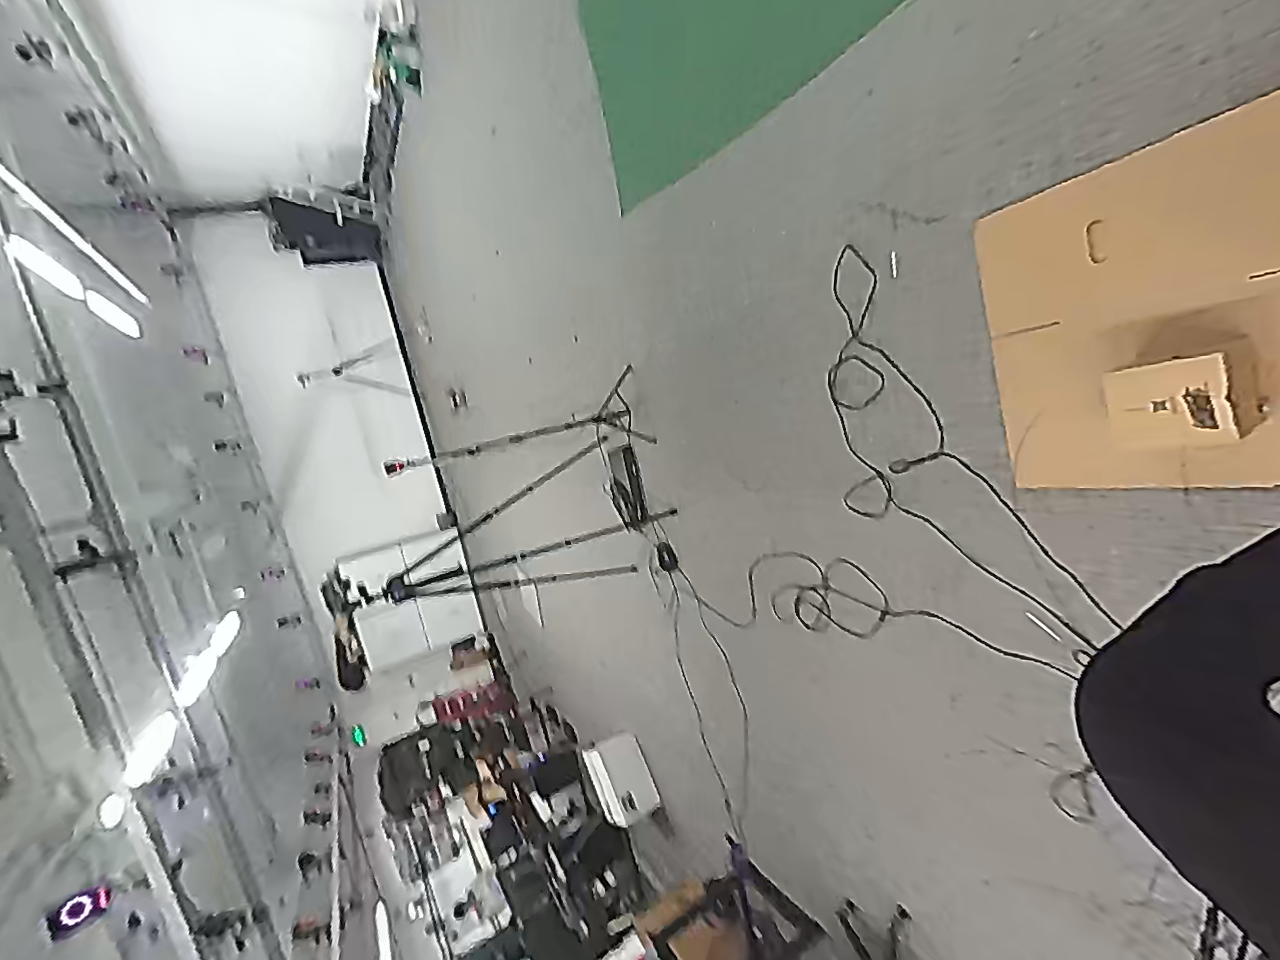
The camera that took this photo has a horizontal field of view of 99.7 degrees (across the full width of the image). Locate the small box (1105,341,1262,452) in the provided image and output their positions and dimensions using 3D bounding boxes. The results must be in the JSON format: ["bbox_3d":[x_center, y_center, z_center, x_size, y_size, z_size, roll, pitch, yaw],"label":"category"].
[{"bbox_3d":[1.061,-0.162,1.053,0.179,0.176,0.168,-7,99,62],"label":"small box"}]
